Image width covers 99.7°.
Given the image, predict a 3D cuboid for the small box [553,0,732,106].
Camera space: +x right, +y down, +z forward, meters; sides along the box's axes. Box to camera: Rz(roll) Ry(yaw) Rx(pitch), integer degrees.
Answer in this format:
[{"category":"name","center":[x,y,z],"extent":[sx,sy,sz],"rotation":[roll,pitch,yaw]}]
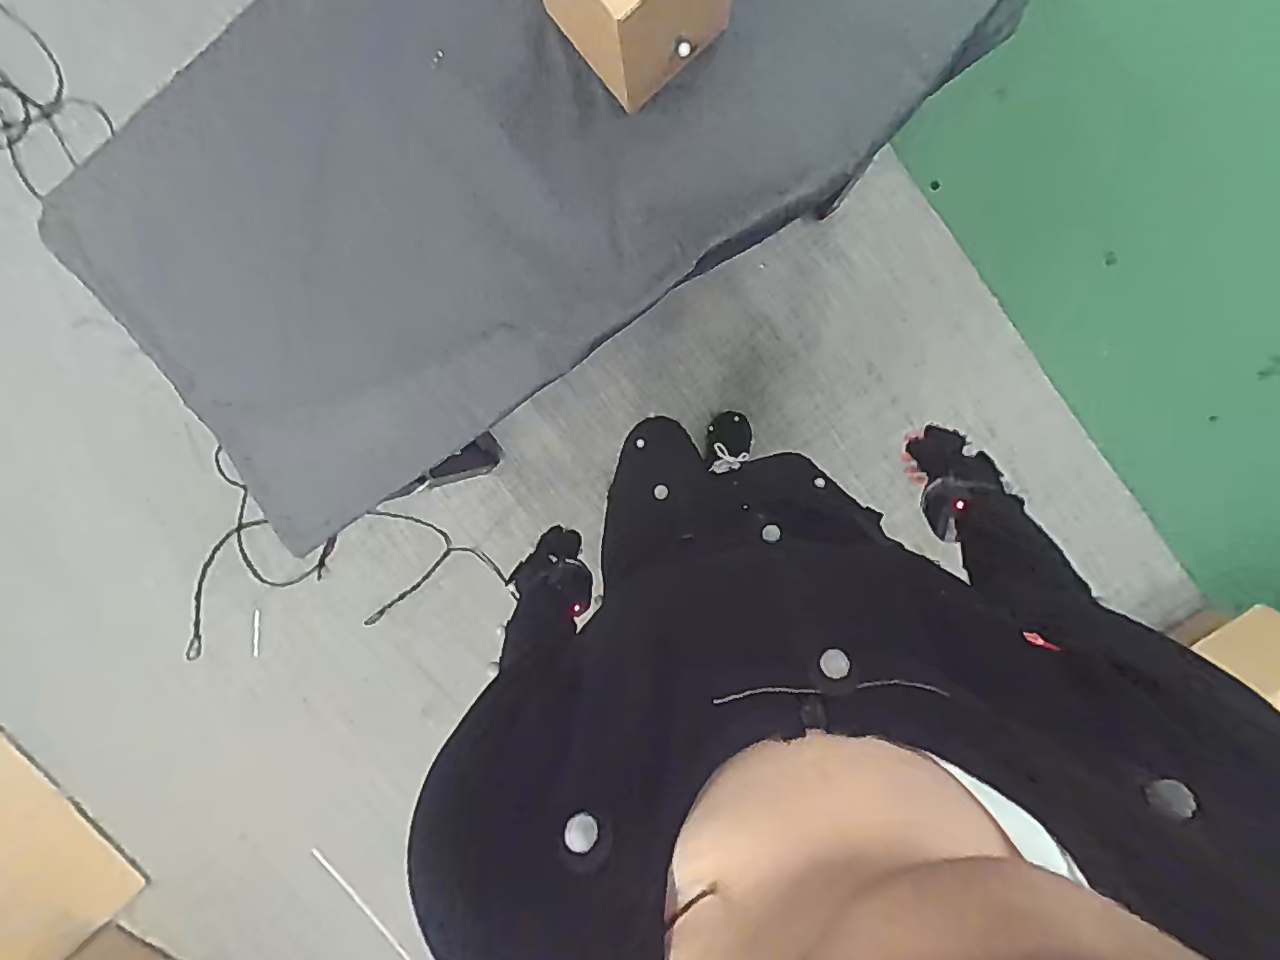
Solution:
[{"category":"small box","center":[-0.005,-0.591,0.621],"extent":[0.168,0.176,0.179],"rotation":[-38,92,7]}]
